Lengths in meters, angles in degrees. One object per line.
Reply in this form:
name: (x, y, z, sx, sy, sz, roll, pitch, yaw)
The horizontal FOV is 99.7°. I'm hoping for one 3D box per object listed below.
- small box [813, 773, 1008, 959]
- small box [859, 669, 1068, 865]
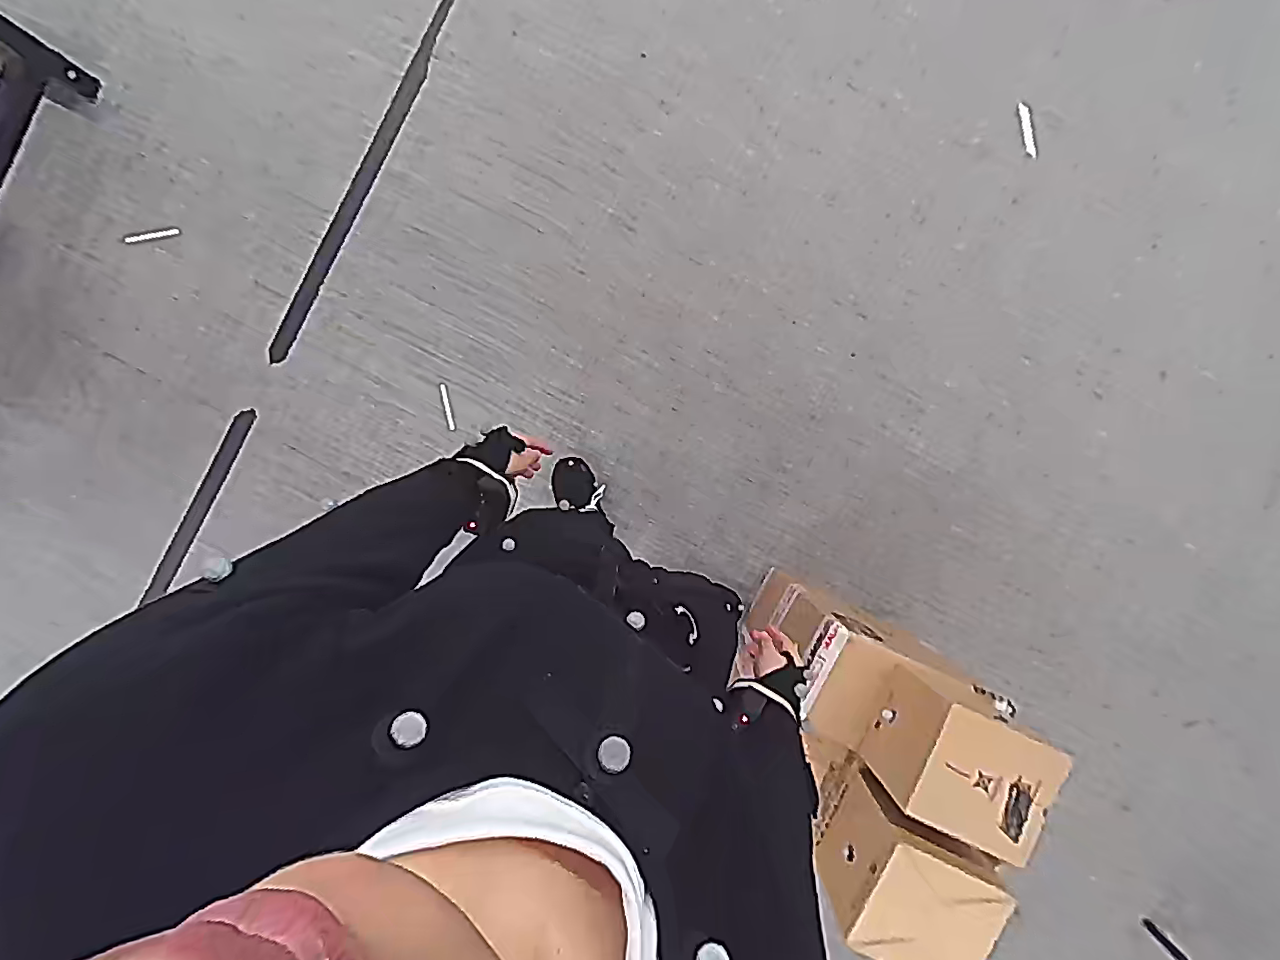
small box: (0.392, 0.591, 0.809, 0.179, 0.176, 0.168, 25, 95, 2)
small box: (0.465, 0.409, 0.805, 0.179, 0.176, 0.168, 25, 89, 2)
